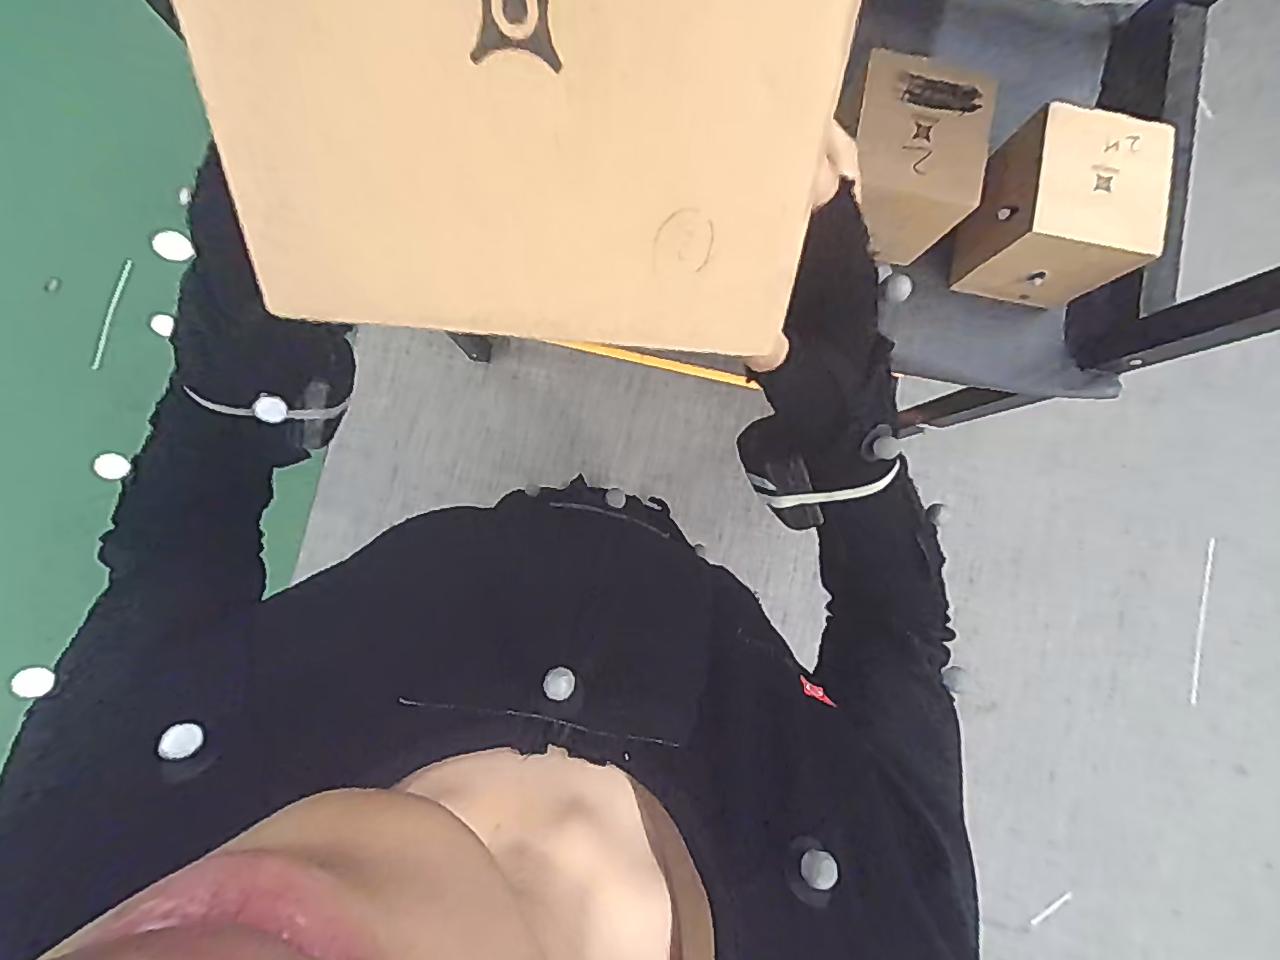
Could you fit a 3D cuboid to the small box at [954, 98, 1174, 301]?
[{"bbox_3d":[0.567,-0.370,0.746,0.168,0.176,0.179,10,85,-2],"label":"small box"}]
